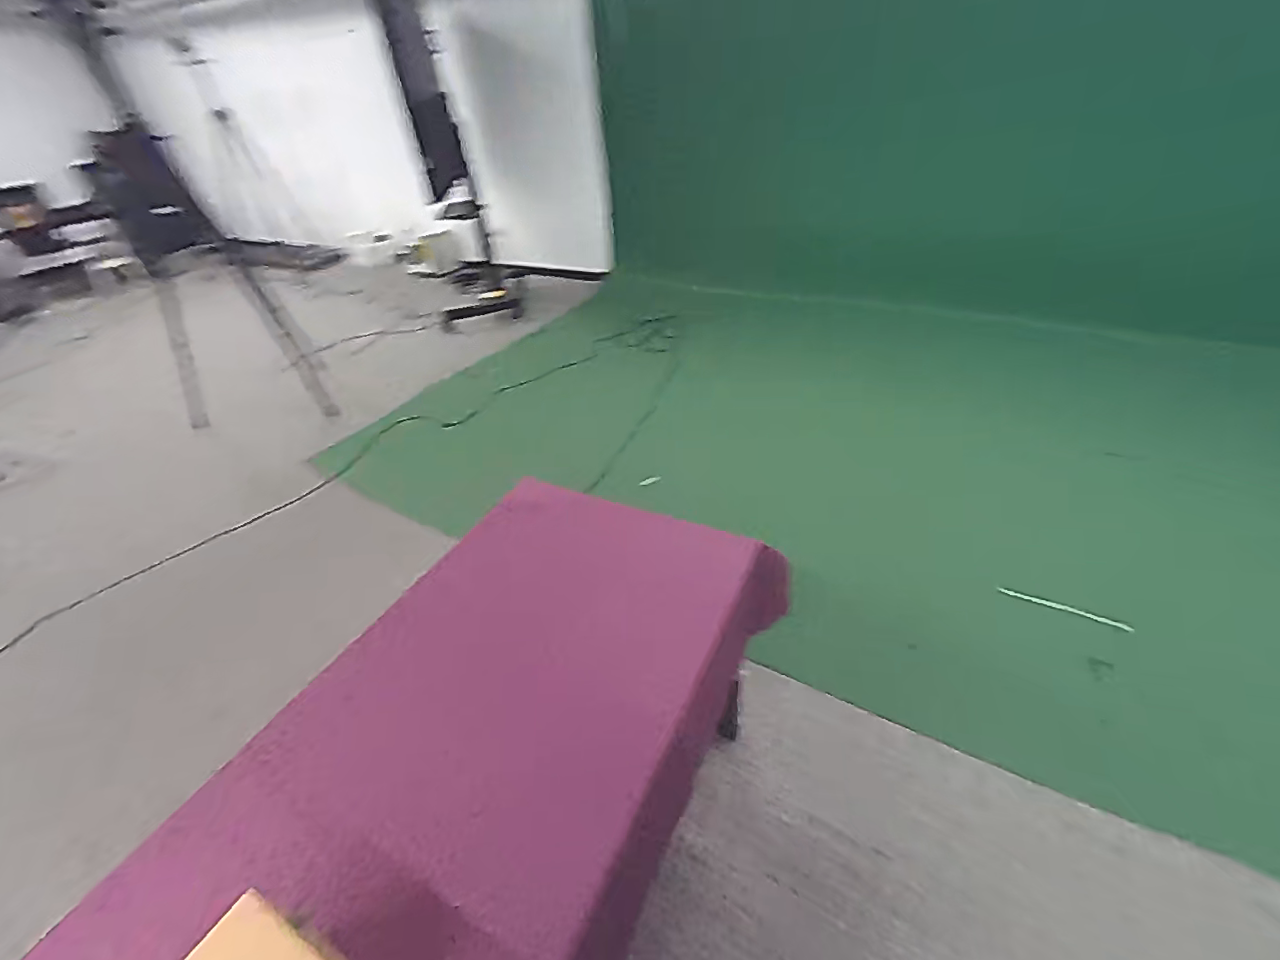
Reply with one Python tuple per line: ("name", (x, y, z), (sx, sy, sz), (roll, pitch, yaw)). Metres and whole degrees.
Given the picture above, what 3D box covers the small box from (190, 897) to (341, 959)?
("small box", (-0.354, 0.549, 0.504), (0.179, 0.176, 0.168), (14, 42, 25))
